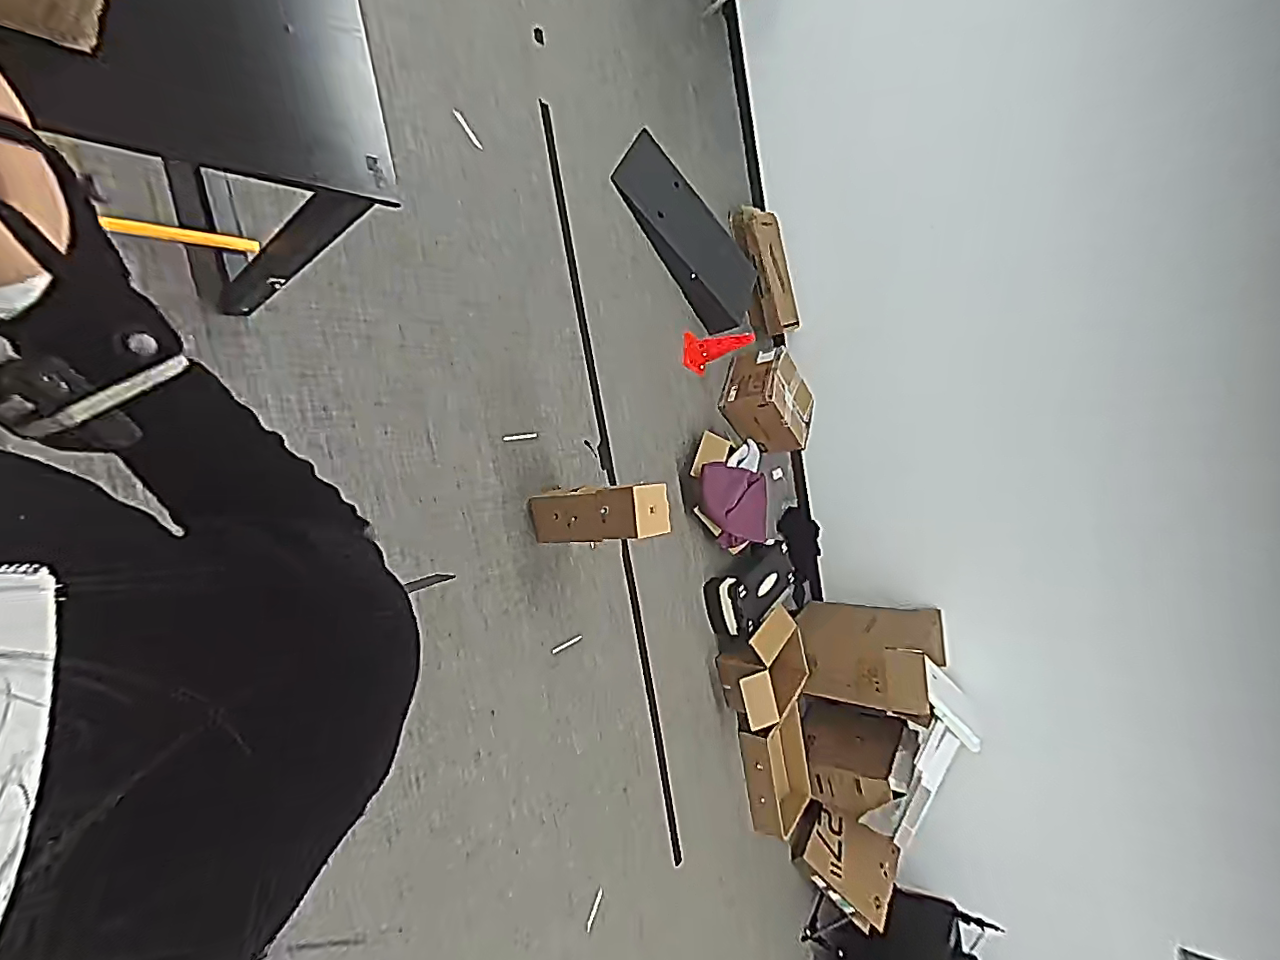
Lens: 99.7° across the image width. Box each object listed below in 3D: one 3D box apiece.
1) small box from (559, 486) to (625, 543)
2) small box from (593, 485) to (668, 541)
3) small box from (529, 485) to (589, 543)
[{"bbox_3d":[-0.153,0.118,1.873,0.179,0.176,0.168,-14,96,-51],"label":"small box"},{"bbox_3d":[-0.031,0.105,1.766,0.179,0.176,0.168,-5,89,-50],"label":"small box"},{"bbox_3d":[-0.283,0.126,1.975,0.168,0.176,0.179,-20,102,-50],"label":"small box"}]
